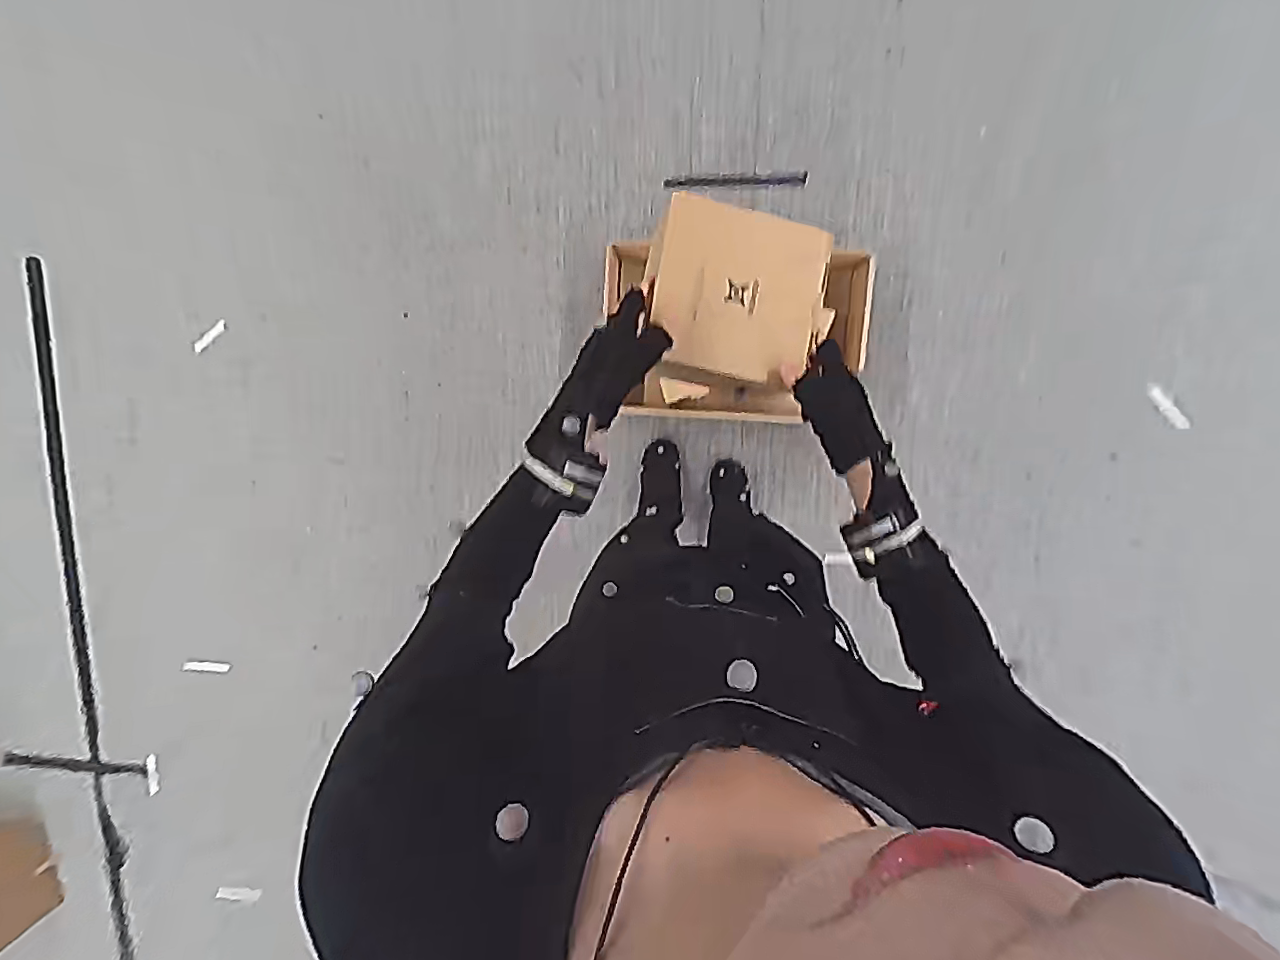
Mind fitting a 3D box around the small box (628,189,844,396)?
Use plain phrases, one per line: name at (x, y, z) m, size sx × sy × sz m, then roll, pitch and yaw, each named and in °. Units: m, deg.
small box at (0.093, -0.190, 0.608) m, size 0.179 × 0.176 × 0.168 m, roll 10°, pitch 95°, yaw -9°
